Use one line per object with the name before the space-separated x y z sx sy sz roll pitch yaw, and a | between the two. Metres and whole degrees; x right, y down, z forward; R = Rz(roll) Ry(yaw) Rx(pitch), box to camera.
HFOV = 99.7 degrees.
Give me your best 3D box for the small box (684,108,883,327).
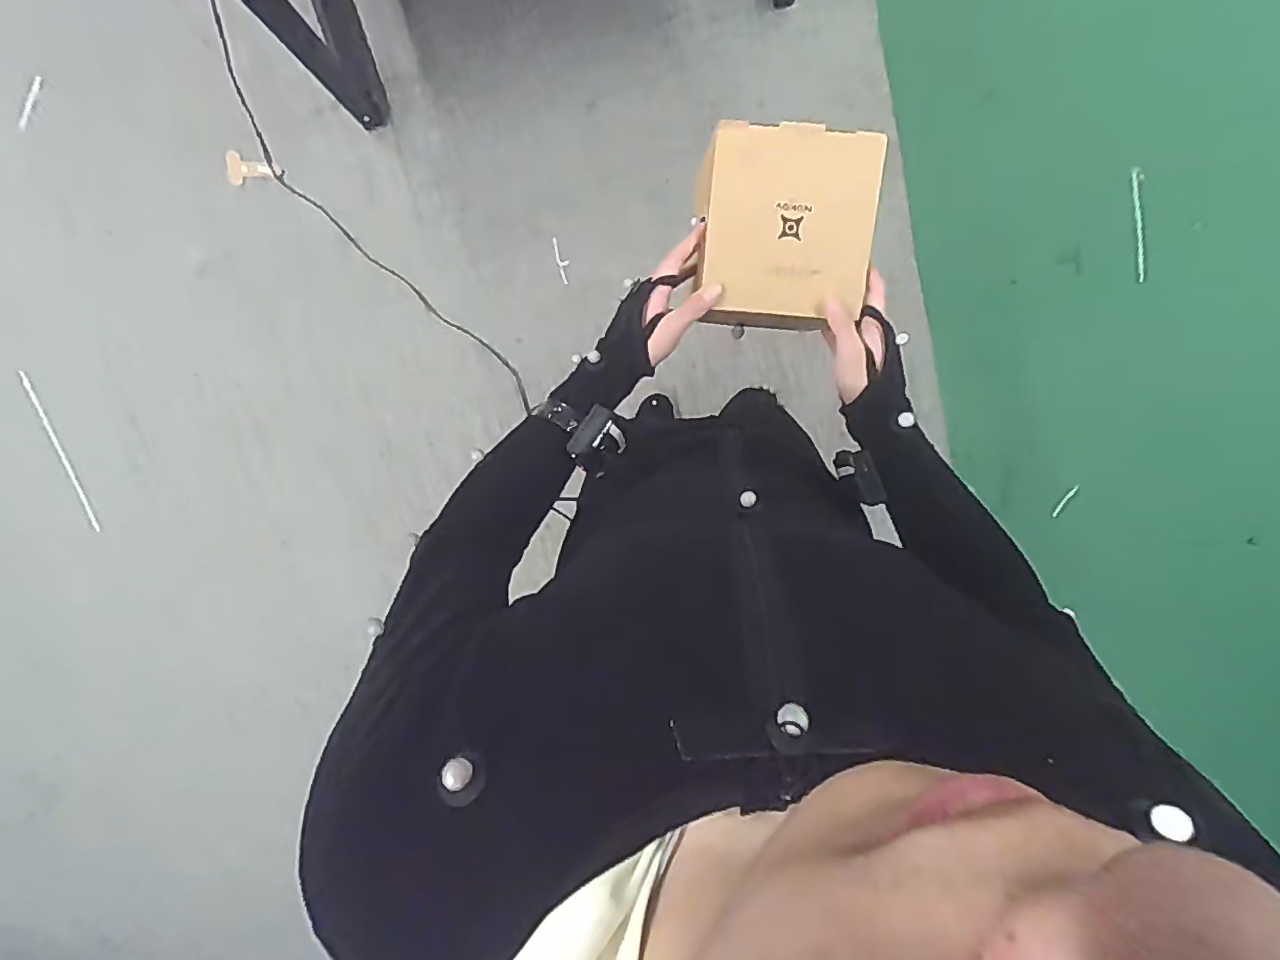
small box | 0.143 -0.274 0.605 0.168 0.176 0.179 4 102 -1
